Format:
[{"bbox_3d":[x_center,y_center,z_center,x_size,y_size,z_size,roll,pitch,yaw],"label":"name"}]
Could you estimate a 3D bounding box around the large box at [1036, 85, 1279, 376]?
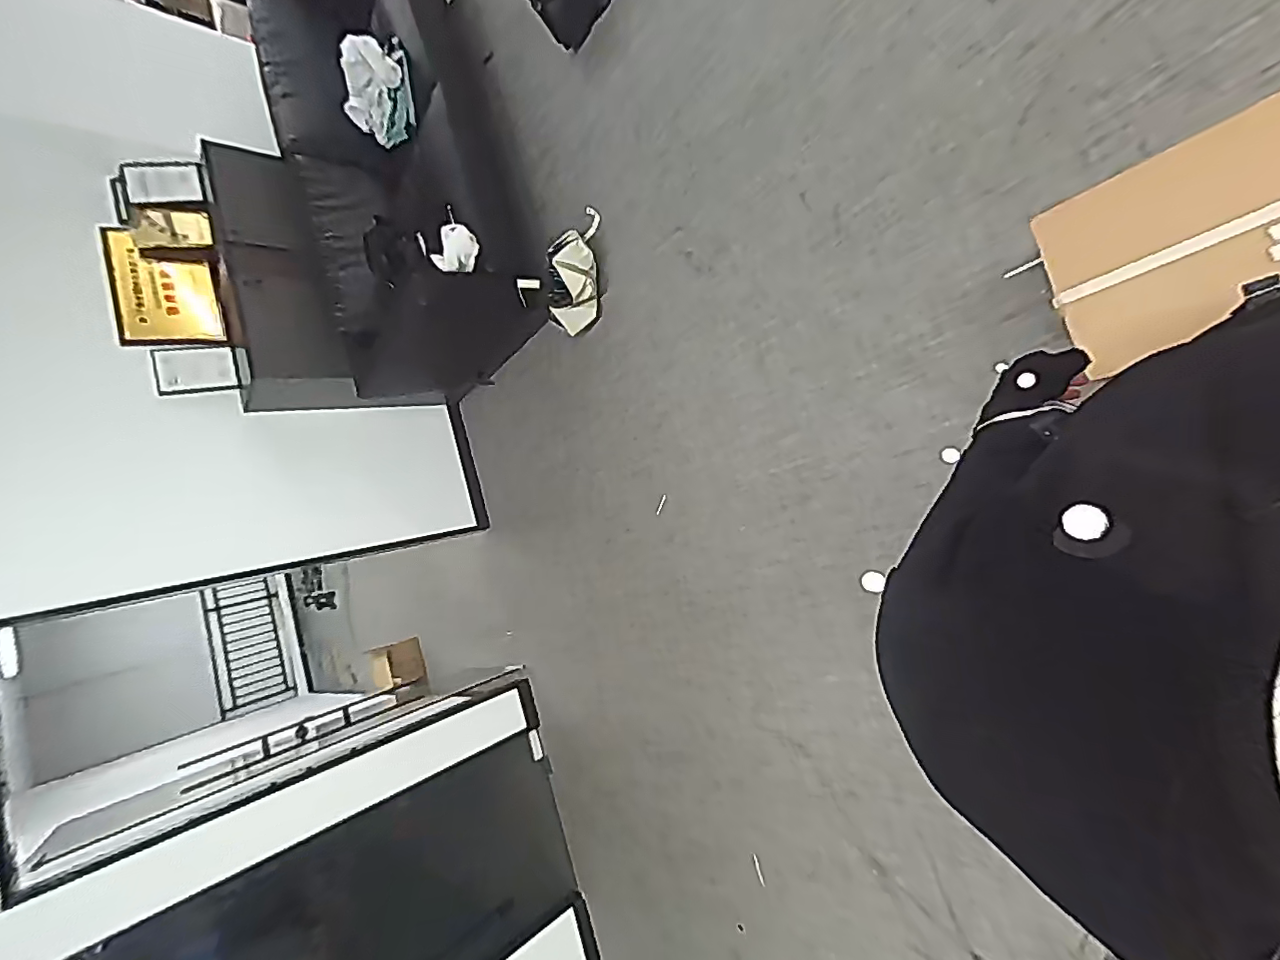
[{"bbox_3d":[0.980,-0.395,0.907,0.408,0.320,0.320,-22,81,47],"label":"large box"}]
